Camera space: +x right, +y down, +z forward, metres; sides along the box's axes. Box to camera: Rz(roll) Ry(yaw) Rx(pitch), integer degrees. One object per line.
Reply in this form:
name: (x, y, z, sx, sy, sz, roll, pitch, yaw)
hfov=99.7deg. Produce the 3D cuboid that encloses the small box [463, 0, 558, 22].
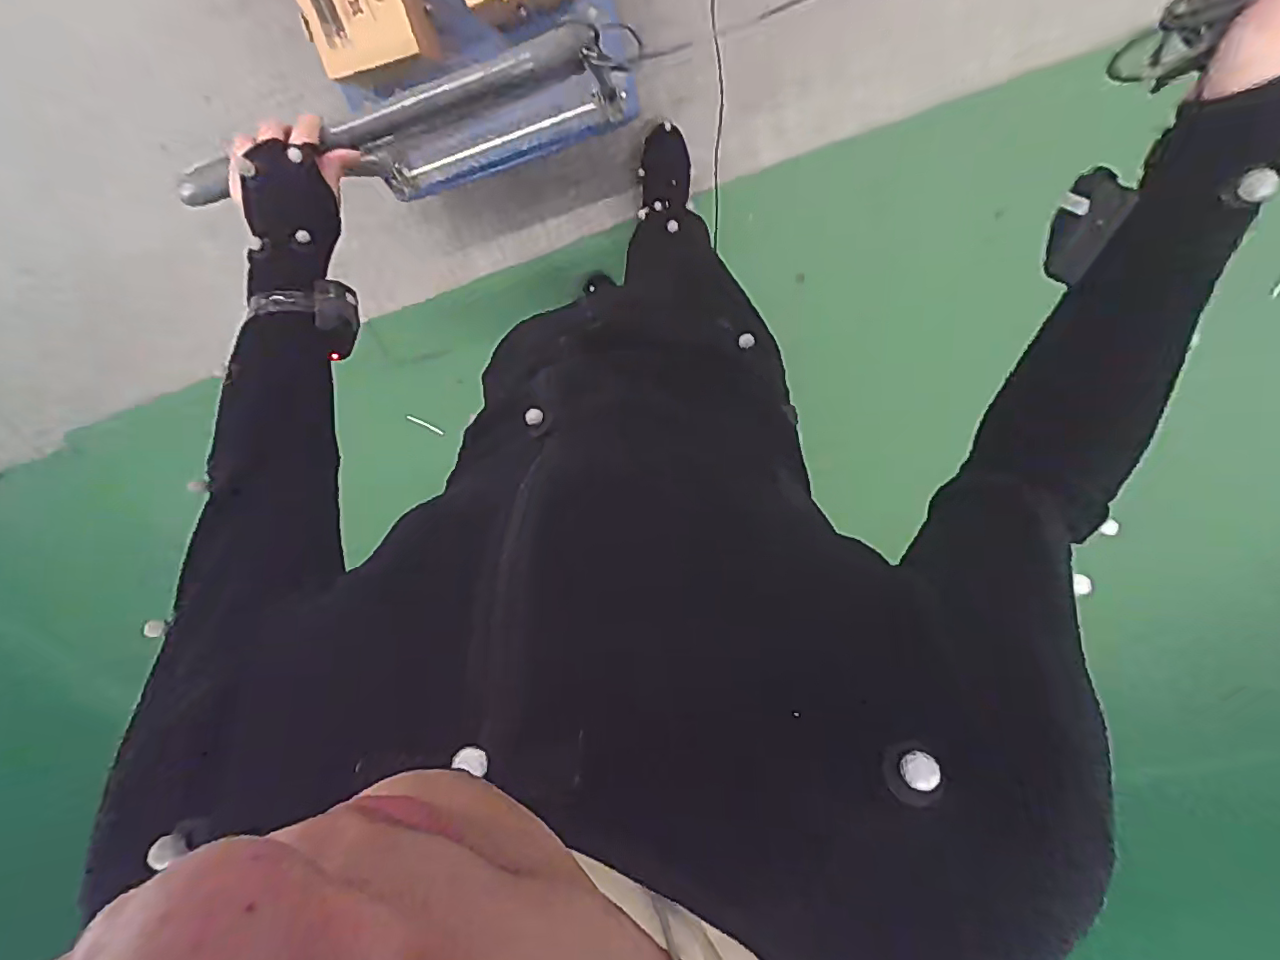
small box: (-0.230, -0.909, 0.900, 0.168, 0.176, 0.179, -13, 123, 10)
